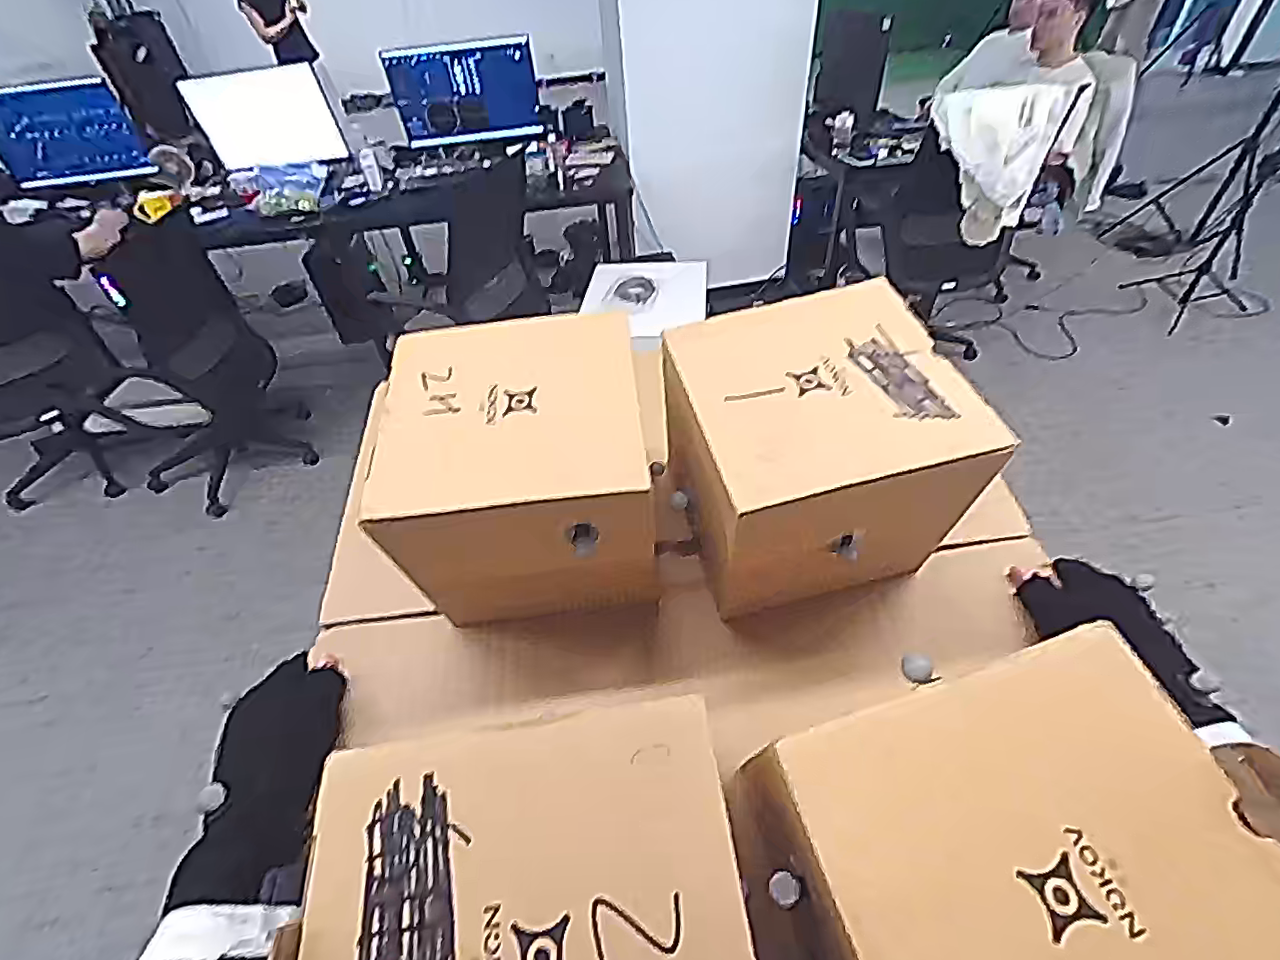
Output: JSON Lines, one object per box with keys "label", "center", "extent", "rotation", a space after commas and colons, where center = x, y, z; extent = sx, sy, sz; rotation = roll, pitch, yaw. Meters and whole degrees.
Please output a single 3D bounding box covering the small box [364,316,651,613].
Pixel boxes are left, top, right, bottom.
{"label": "small box", "center": [-0.084, -0.006, 0.438], "extent": [0.179, 0.176, 0.168], "rotation": [-7, 54, 0]}
